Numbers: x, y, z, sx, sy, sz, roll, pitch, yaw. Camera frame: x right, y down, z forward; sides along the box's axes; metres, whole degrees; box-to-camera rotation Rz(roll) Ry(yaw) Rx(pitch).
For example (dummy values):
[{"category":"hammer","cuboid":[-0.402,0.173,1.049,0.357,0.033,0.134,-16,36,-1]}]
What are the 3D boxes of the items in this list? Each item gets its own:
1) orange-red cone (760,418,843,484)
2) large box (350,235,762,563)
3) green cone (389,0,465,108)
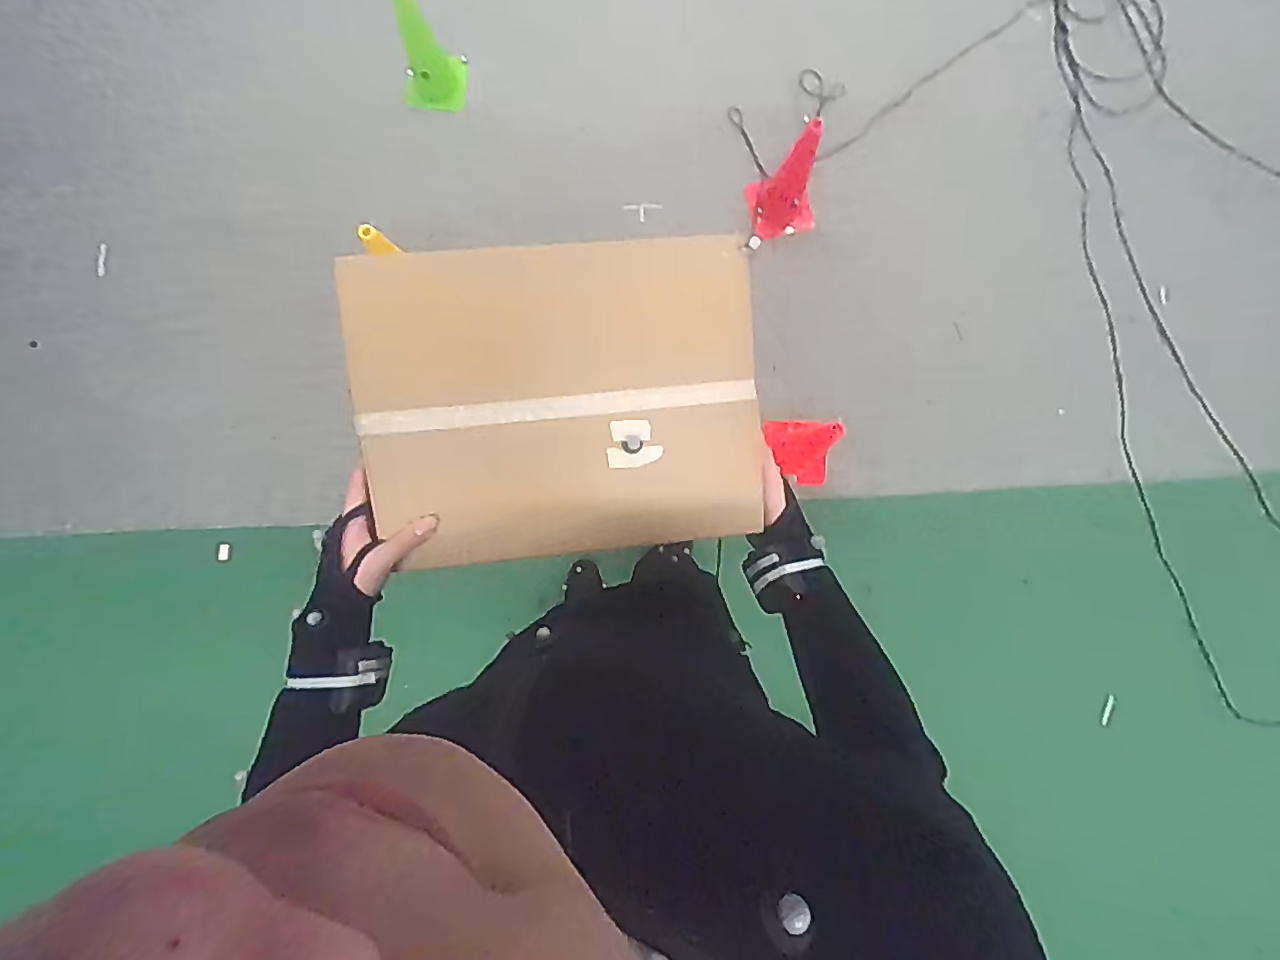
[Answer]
[{"category":"orange-red cone","cuboid":[0.486,-0.109,1.523,0.199,0.360,0.198,5,84,-2]},{"category":"large box","cuboid":[-0.091,-0.101,0.708,0.408,0.320,0.320,-5,99,-6]},{"category":"green cone","cuboid":[-0.689,-1.363,1.645,0.200,0.368,0.202,3,85,-1]}]
